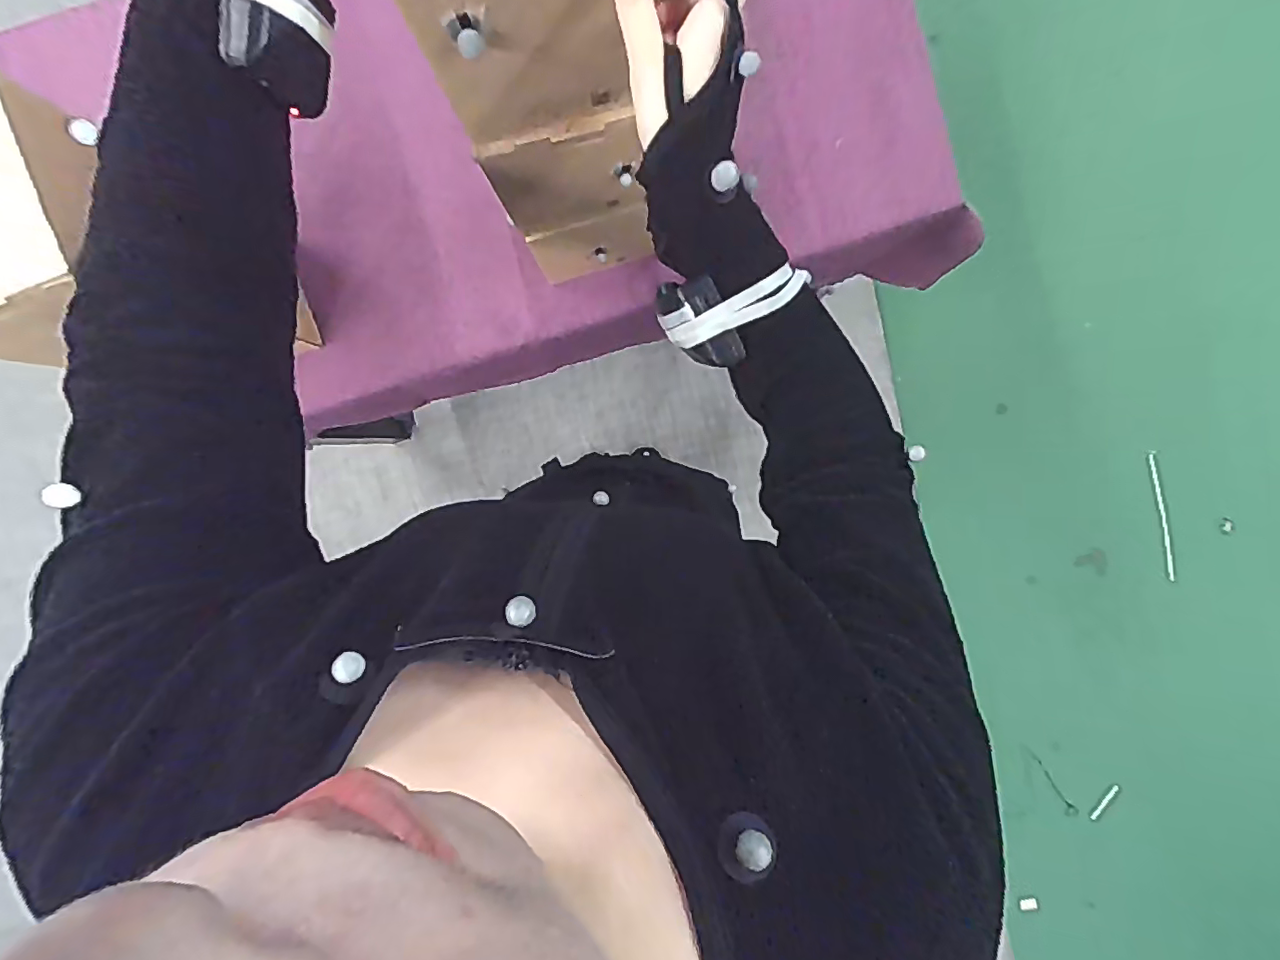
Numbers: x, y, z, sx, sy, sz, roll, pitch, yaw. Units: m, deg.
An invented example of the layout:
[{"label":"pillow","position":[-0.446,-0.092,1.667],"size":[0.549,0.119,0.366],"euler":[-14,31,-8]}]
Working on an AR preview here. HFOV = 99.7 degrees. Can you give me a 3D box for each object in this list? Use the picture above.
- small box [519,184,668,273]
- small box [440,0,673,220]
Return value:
[{"label":"small box","position":[-0.066,-0.372,0.663],"size":[0.168,0.176,0.179],"euler":[-15,94,1]},{"label":"small box","position":[-0.068,-0.364,0.500],"size":[0.168,0.176,0.179],"euler":[-13,93,1]}]
